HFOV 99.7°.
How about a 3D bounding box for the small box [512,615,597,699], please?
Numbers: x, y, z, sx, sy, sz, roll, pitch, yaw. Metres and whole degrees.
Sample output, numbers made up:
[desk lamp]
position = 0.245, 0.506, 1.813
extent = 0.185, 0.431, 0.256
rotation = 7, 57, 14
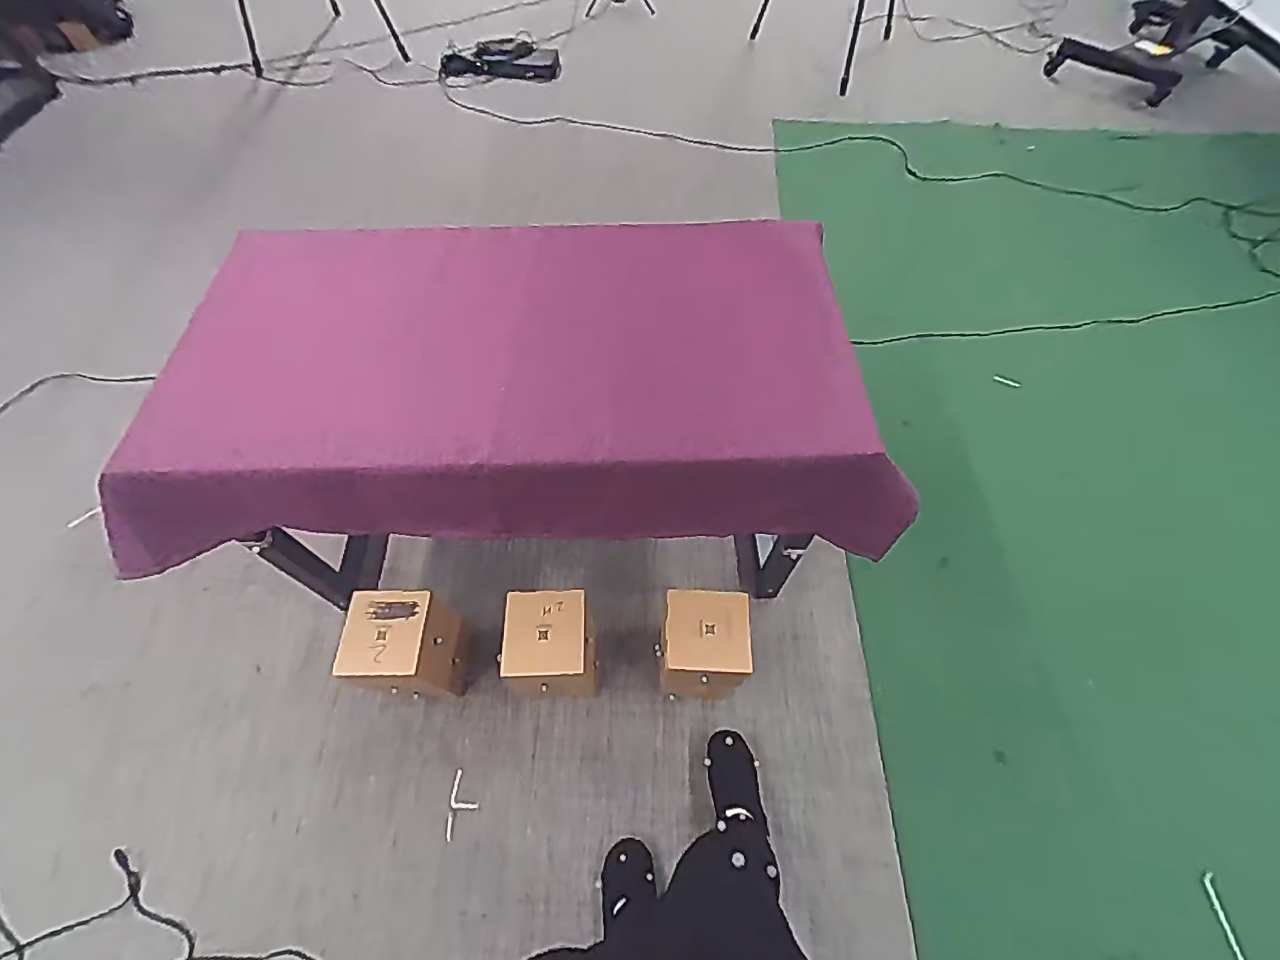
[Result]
[small box]
position = -0.202, 0.438, 1.328
extent = 0.179, 0.176, 0.168
rotation = 0, 59, -1
